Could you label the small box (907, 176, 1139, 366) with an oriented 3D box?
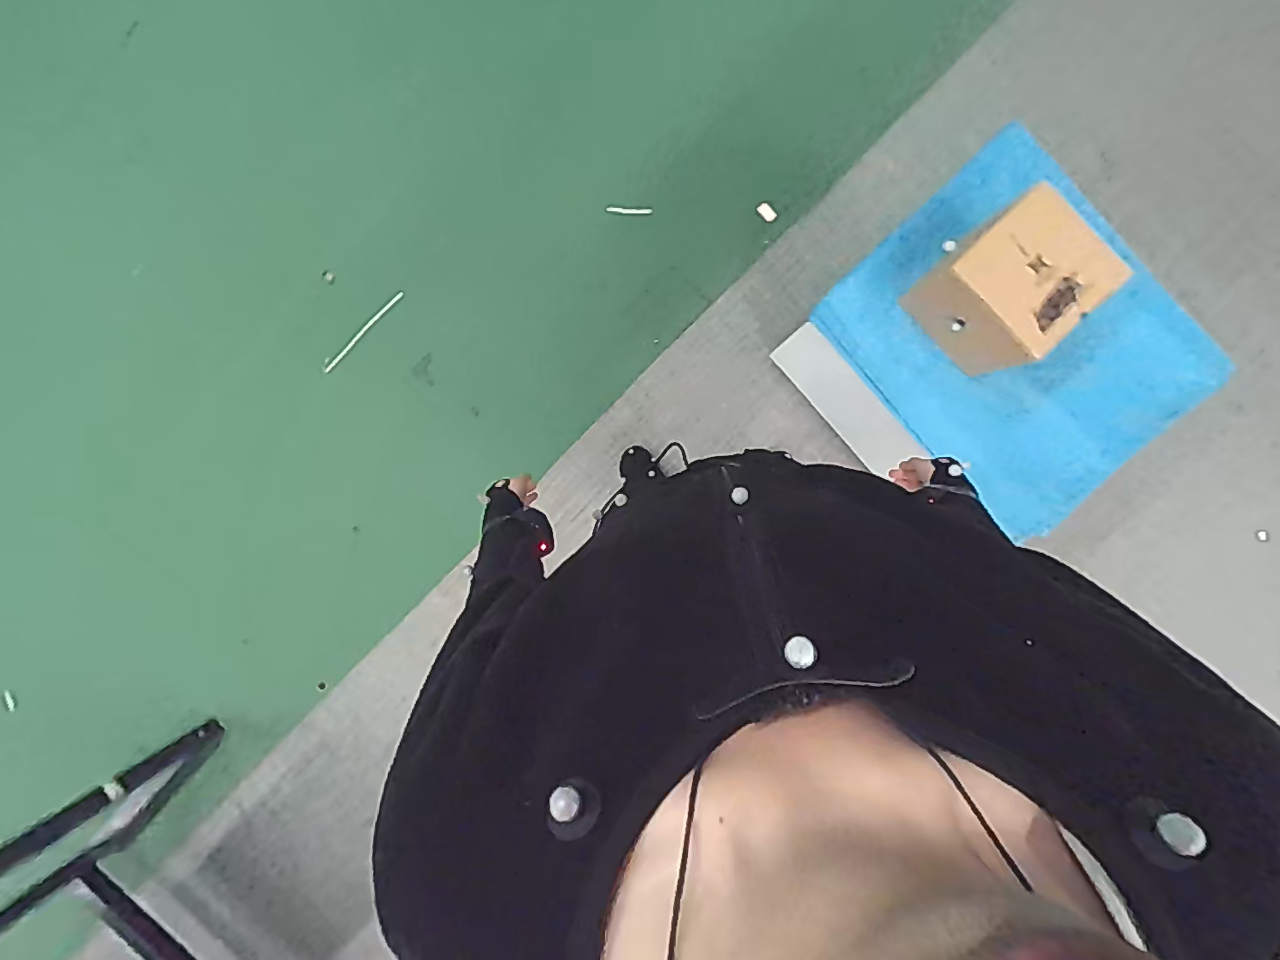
[{"bbox_3d":[0.536,-0.284,0.785,0.168,0.176,0.179,-43,91,4],"label":"small box"}]
